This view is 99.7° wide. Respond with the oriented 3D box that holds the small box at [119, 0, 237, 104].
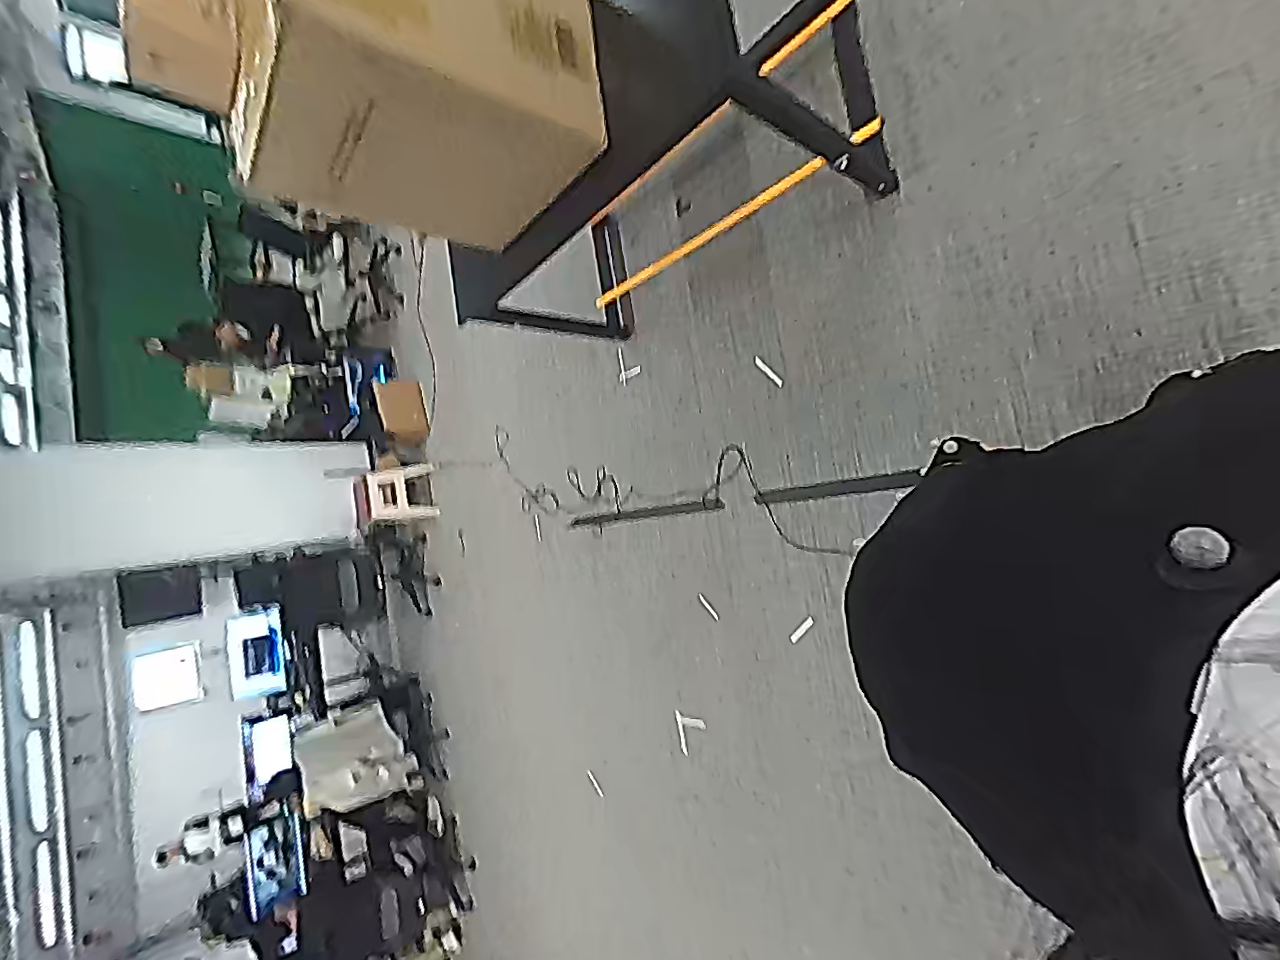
[{"bbox_3d":[-0.902,-0.891,1.058,0.179,0.176,0.168,-13,83,46],"label":"small box"}]
